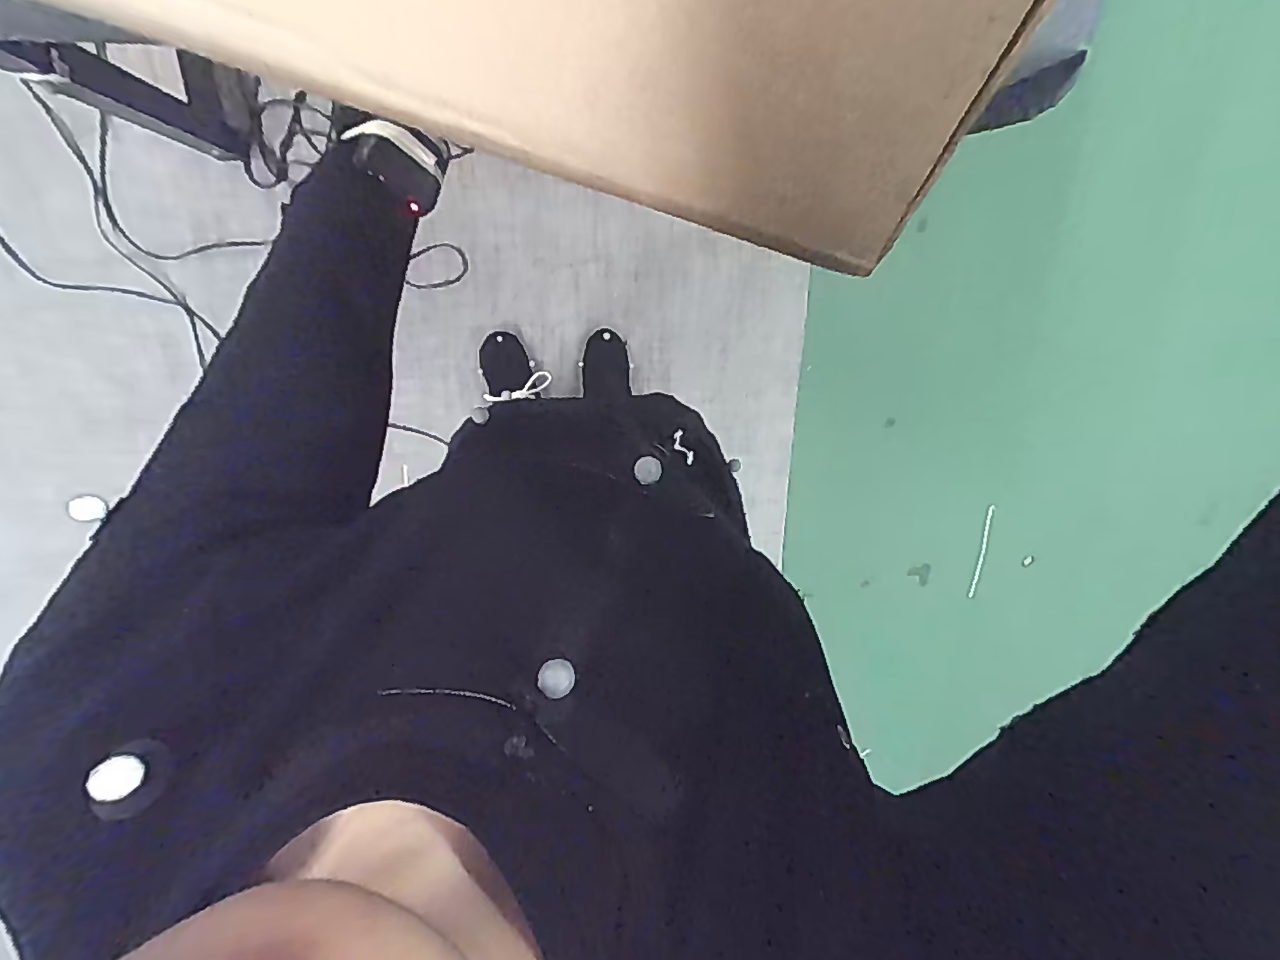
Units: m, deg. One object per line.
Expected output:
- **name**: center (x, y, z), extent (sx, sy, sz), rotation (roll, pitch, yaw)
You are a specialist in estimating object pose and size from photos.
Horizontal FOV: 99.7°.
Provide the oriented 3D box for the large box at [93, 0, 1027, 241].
- **large box**: center (-0.003, -0.369, 0.233), extent (0.320, 0.408, 0.320), rotation (13, 134, -10)
